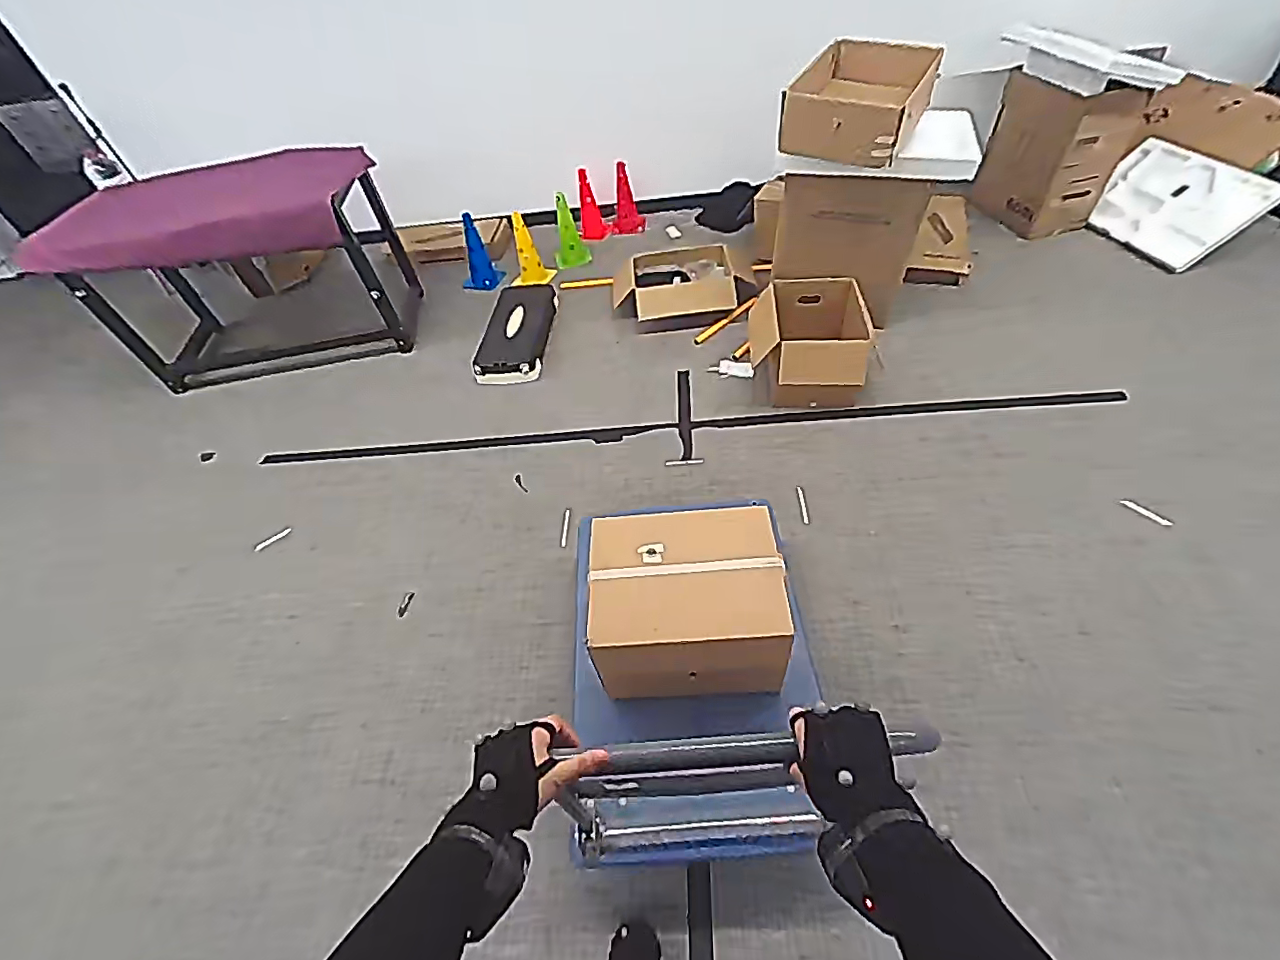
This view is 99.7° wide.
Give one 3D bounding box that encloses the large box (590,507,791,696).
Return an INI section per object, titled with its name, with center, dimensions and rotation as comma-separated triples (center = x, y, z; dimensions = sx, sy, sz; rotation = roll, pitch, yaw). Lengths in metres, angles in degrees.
[large box]
center = 0.112, 0.293, 1.268
dimensions = 0.408, 0.320, 0.320
rotation = -5, 49, 4
